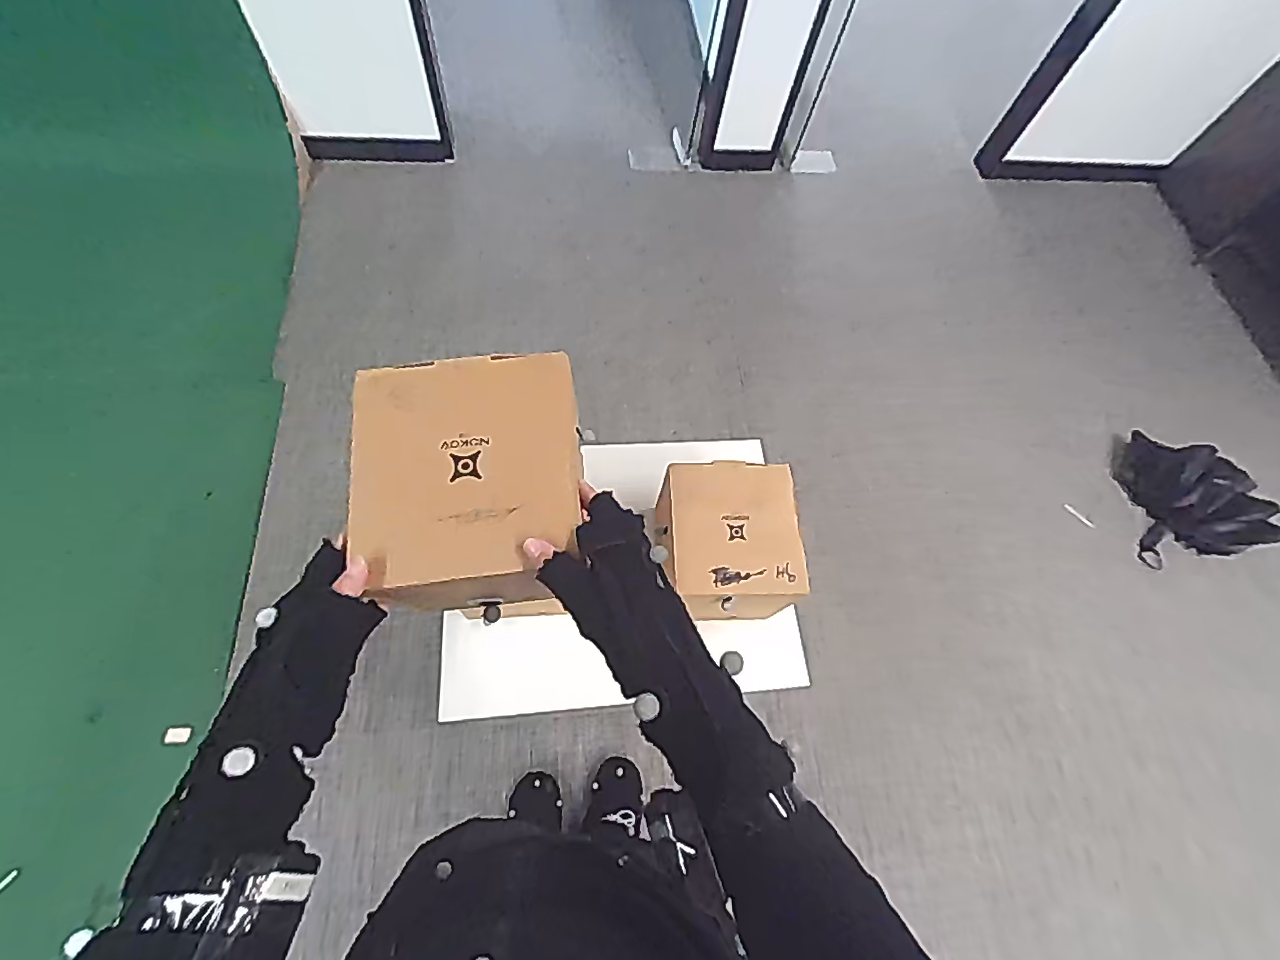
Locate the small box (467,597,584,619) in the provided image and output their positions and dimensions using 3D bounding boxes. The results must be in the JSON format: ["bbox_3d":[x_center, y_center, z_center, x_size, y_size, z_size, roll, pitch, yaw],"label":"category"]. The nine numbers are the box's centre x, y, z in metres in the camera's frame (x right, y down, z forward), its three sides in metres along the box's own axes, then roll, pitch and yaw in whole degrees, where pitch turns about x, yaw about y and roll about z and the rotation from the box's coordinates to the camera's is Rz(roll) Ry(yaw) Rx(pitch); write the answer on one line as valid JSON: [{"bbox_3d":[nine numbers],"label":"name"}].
[{"bbox_3d":[-0.159,0.087,0.730,0.168,0.176,0.179,-1,65,-8],"label":"small box"}]

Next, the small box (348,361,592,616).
[{"bbox_3d":[-0.134,0.018,0.480,0.168,0.176,0.179,-6,72,-4],"label":"small box"}]

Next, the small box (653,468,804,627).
[{"bbox_3d":[0.109,0.099,0.755,0.168,0.176,0.179,1,64,-5],"label":"small box"}]
